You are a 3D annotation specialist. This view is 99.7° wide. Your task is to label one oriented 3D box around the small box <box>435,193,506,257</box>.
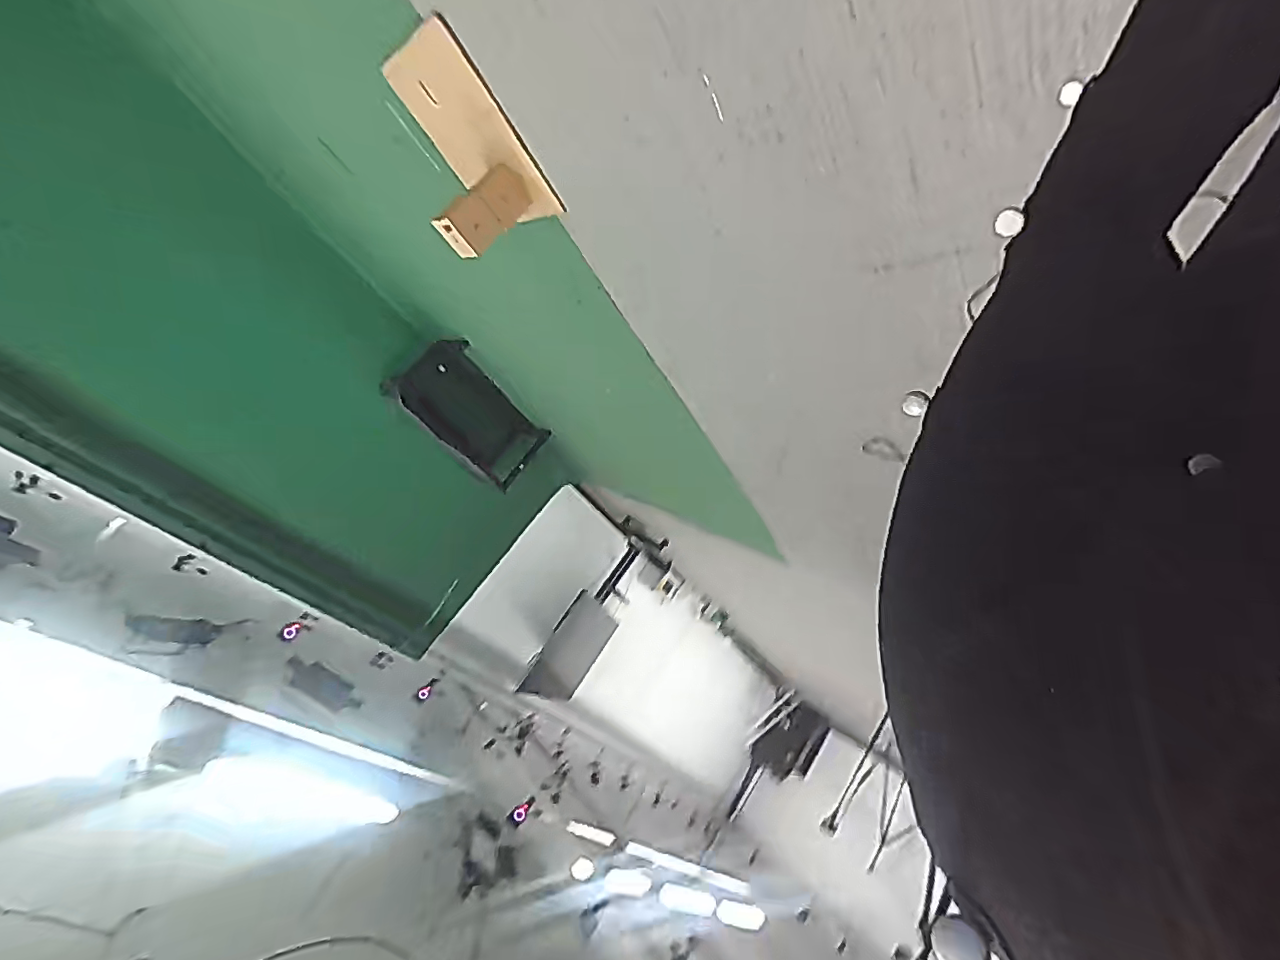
[{"bbox_3d":[-0.678,-1.025,2.170,0.168,0.176,0.179,22,161,44],"label":"small box"}]
